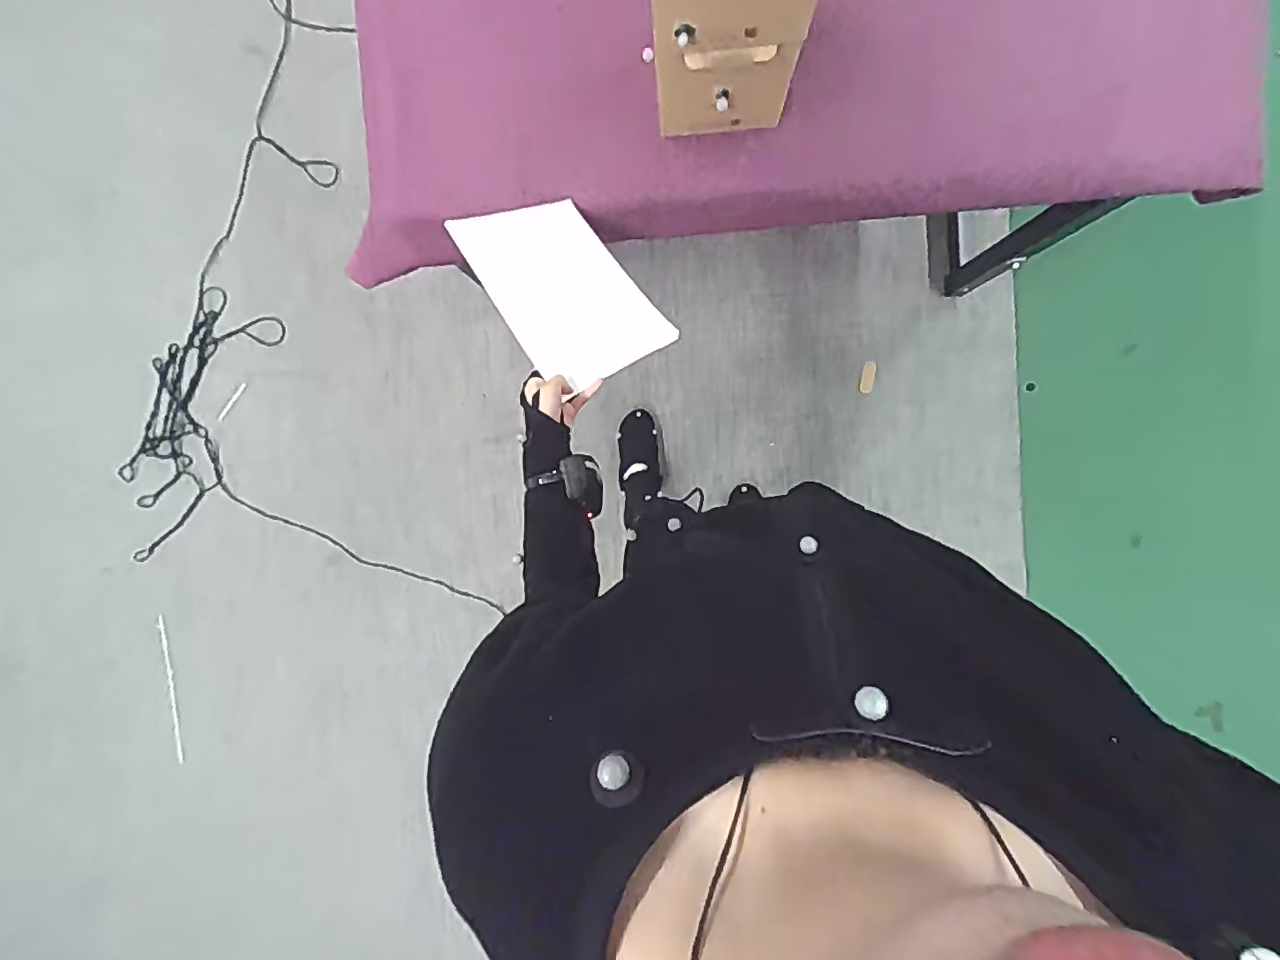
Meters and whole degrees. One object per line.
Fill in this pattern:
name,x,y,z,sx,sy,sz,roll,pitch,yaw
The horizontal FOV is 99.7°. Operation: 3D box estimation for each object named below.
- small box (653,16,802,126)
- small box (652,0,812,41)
small box,0.102,-0.571,0.672,0.168,0.176,0.179,-2,93,4
small box,0.089,-0.558,0.508,0.168,0.176,0.179,-2,91,5
